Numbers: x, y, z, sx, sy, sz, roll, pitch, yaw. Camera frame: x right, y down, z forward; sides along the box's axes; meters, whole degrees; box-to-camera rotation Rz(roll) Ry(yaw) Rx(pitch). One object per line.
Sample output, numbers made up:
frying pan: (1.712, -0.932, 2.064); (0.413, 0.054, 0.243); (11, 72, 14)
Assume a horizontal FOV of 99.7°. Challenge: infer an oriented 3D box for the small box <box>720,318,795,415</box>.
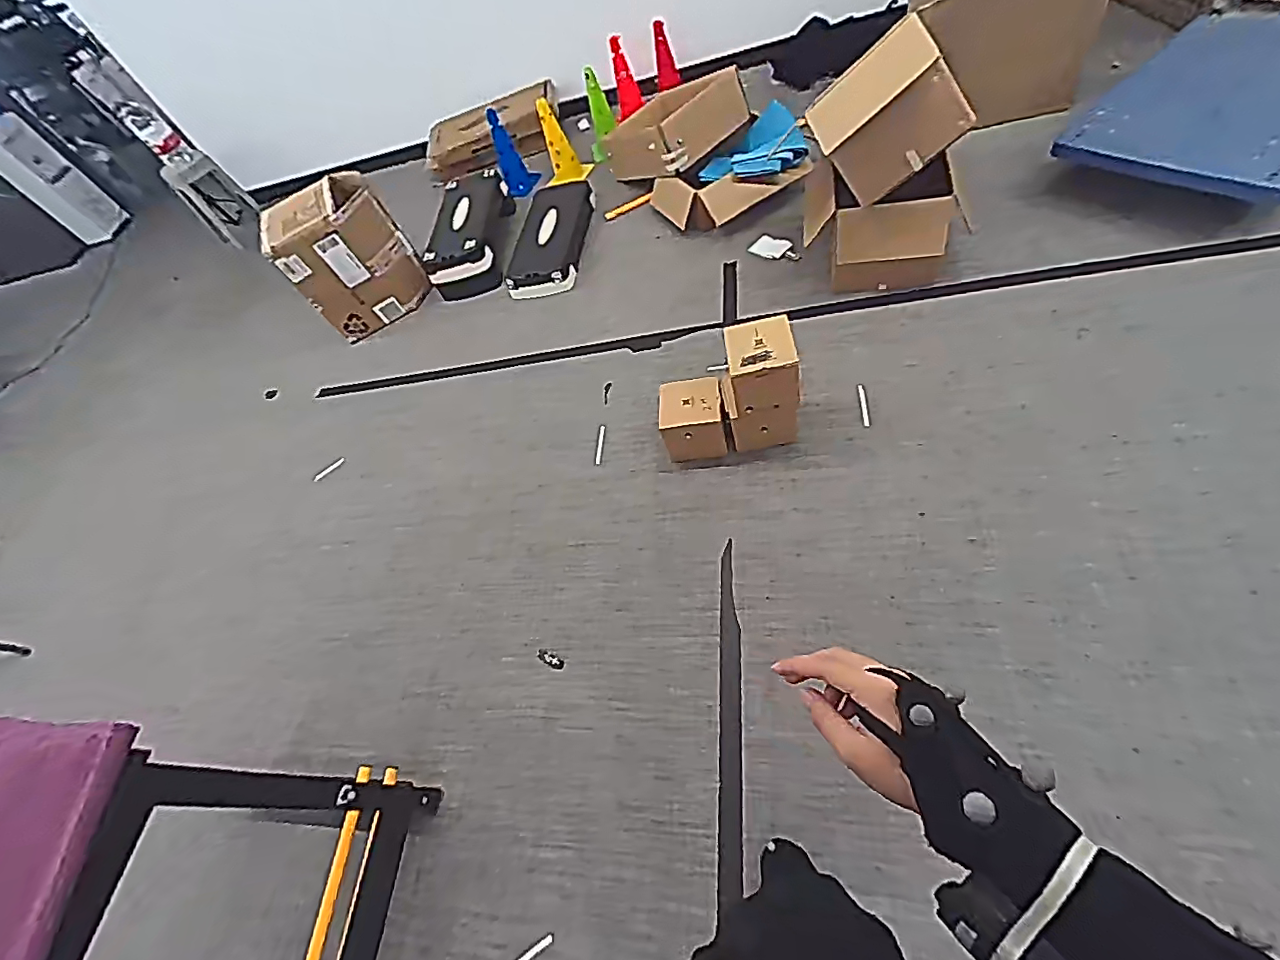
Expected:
small box: (0.310, -0.288, 1.416); (0.168, 0.176, 0.179); (-9, 55, 11)
